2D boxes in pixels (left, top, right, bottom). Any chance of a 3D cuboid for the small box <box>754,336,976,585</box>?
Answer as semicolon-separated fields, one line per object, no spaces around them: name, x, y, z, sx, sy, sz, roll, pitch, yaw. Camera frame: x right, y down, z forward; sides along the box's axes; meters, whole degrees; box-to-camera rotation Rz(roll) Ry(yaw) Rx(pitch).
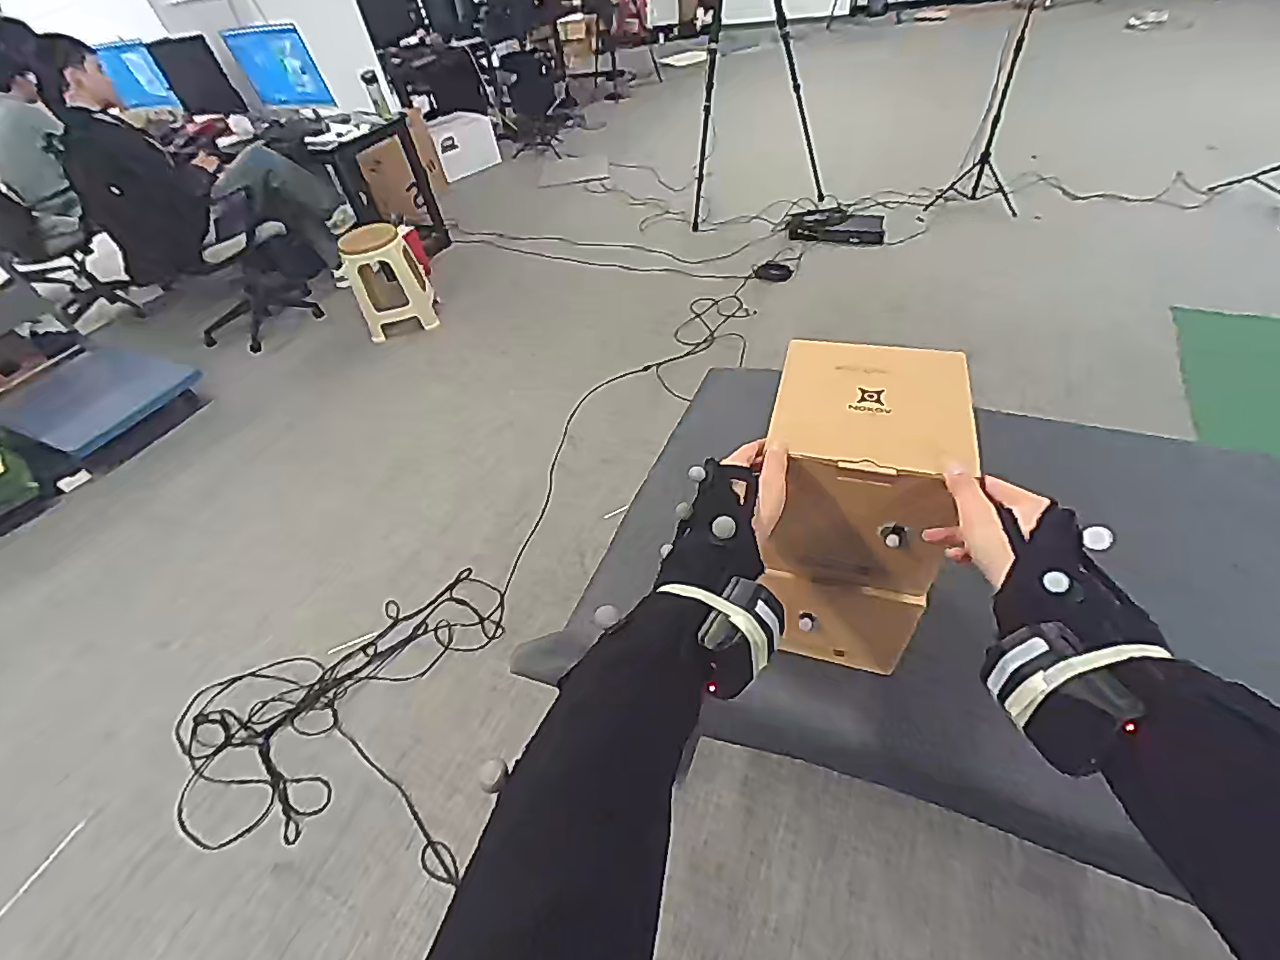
small box;0.212;-0.020;0.542;0.168;0.176;0.179;10;48;15

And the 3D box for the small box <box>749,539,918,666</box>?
small box;0.230;0.098;0.654;0.168;0.176;0.179;10;49;17
